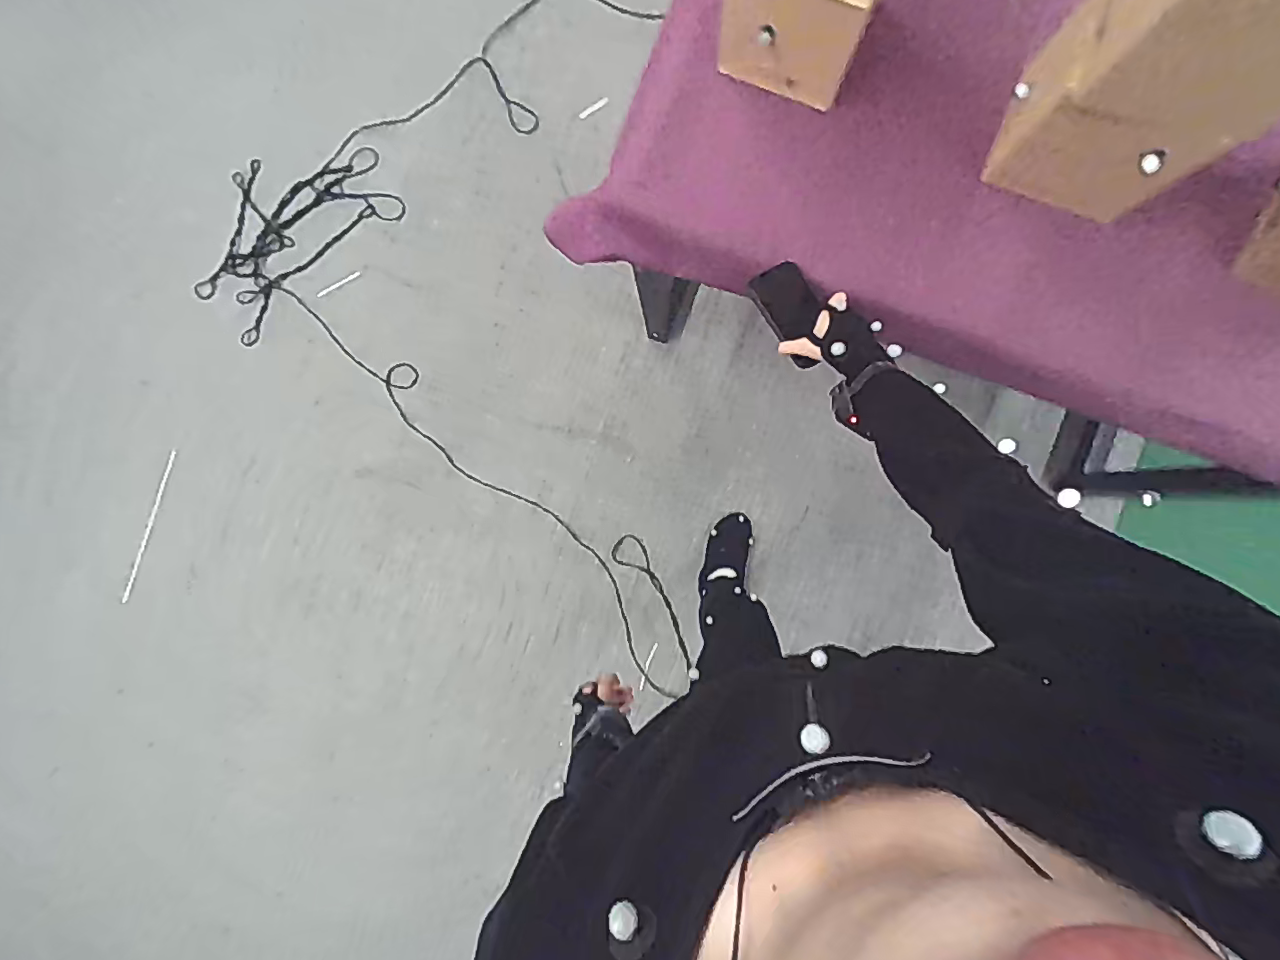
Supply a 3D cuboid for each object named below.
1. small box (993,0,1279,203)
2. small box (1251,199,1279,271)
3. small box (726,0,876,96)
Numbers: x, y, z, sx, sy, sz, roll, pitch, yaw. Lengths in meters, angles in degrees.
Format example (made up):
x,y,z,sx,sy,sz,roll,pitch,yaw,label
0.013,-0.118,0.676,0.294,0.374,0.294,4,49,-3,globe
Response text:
x,y,z,sx,sy,sz,roll,pitch,yaw,label
0.562,-0.453,0.620,0.179,0.176,0.168,23,91,6,small box
0.868,-0.309,0.590,0.179,0.176,0.168,29,91,6,small box
0.211,-0.622,0.658,0.168,0.176,0.179,23,91,5,small box
